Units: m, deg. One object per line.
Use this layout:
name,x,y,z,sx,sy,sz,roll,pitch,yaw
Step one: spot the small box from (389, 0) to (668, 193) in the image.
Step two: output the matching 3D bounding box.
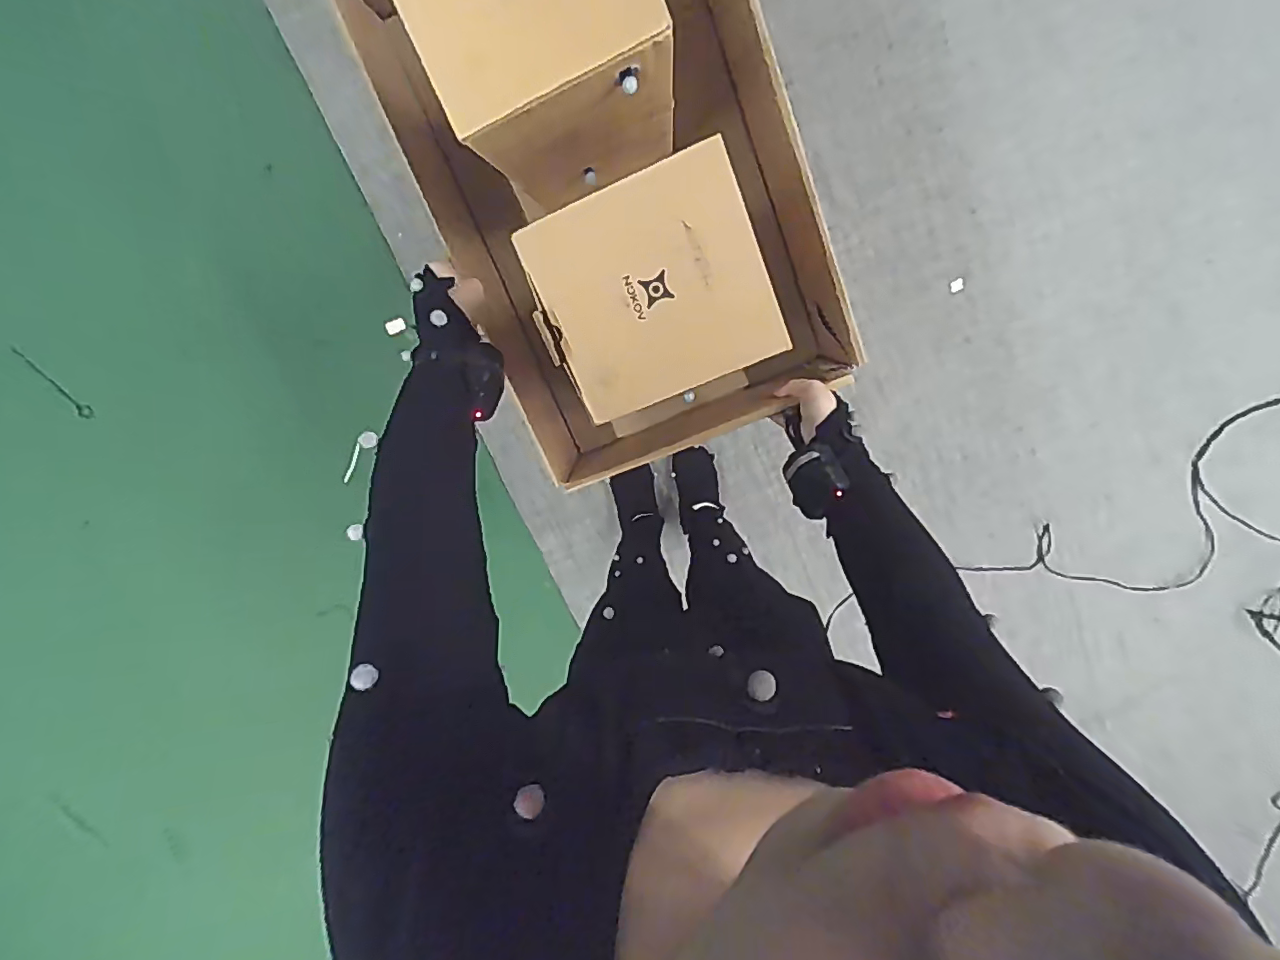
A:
small box,-0.083,-0.372,0.455,0.179,0.176,0.168,-22,104,9

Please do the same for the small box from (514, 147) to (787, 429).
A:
small box,0.015,-0.163,0.504,0.179,0.176,0.168,-22,103,9
